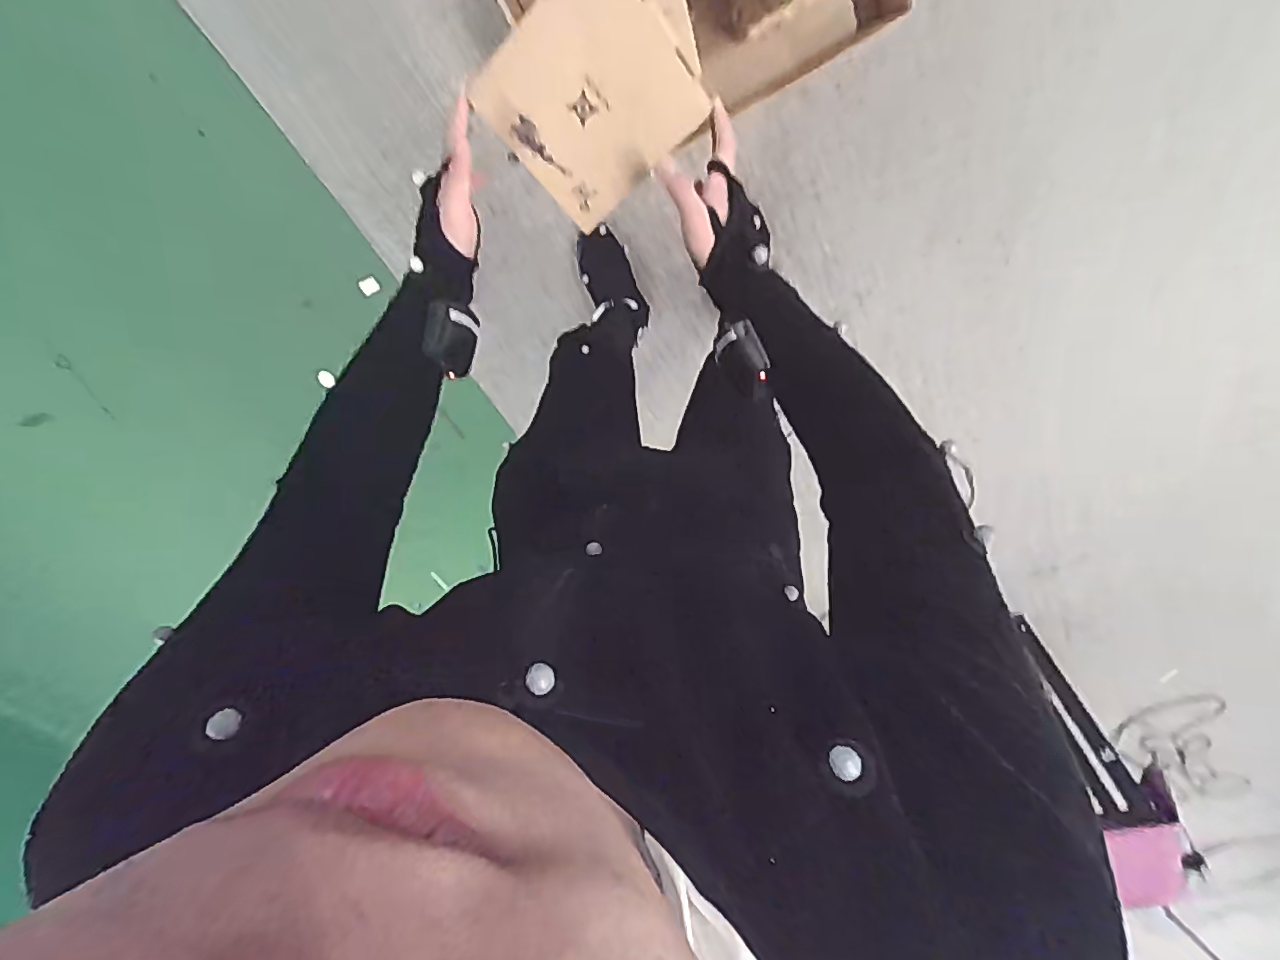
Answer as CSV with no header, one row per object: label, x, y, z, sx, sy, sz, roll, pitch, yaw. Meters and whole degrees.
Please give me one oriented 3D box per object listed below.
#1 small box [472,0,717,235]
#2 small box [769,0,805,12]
small box,-0.043,-0.402,0.571,0.179,0.176,0.168,-35,120,24
small box,0.225,-0.692,0.631,0.179,0.176,0.168,-21,123,16
